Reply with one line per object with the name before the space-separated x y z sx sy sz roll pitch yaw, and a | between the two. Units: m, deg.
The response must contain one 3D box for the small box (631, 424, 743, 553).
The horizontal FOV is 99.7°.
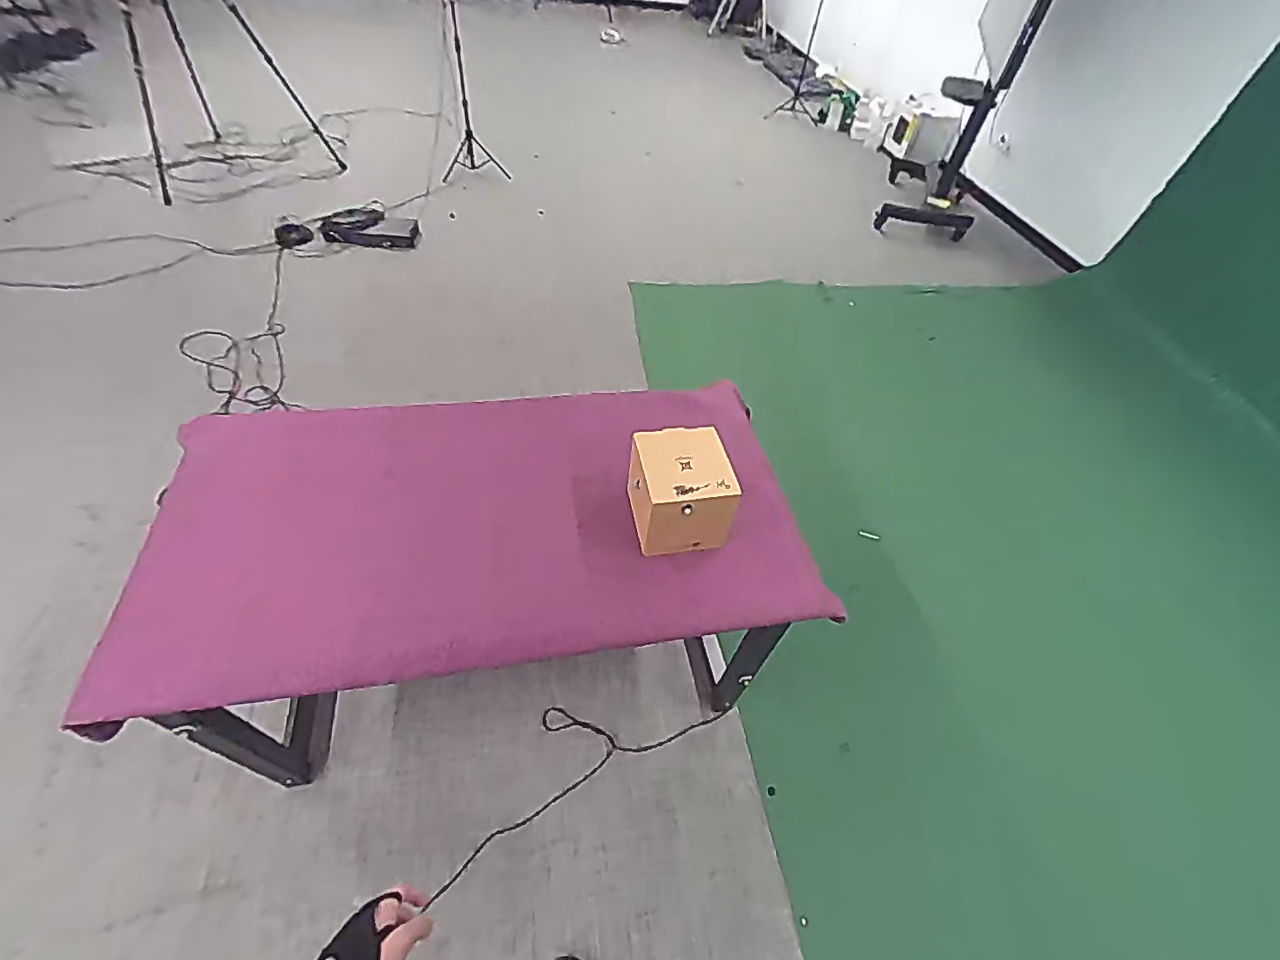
small box | 0.080 0.017 1.043 0.168 0.176 0.179 -7 50 -10
